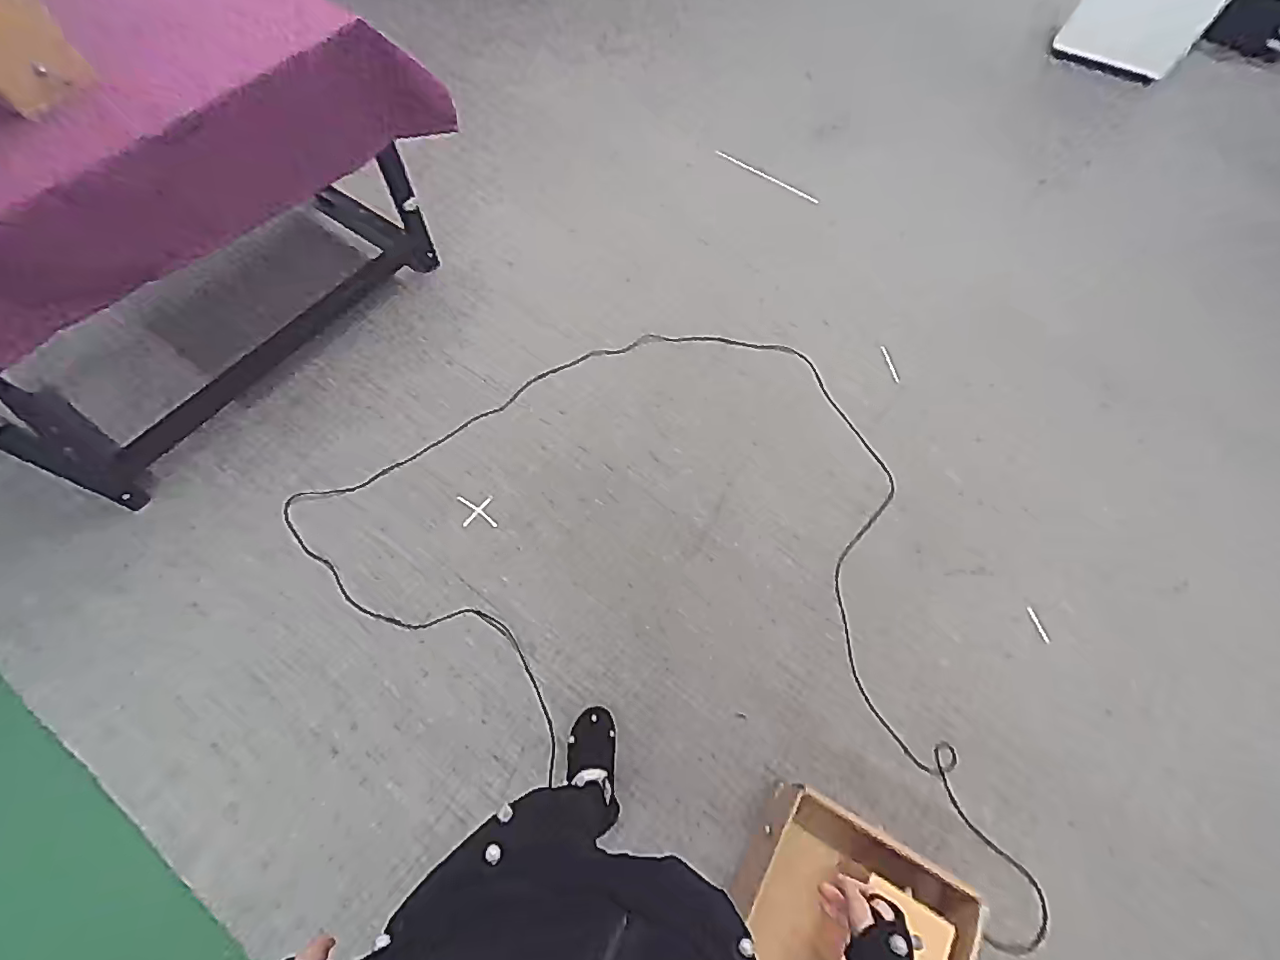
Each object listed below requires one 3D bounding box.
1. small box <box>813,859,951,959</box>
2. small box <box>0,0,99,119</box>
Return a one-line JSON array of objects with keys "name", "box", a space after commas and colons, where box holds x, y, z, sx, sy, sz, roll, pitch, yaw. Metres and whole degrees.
[{"name": "small box", "box": [0.463, 0.888, 1.058, 0.168, 0.176, 0.179, 29, 69, 12]}, {"name": "small box", "box": [-1.228, -0.835, 1.035, 0.179, 0.176, 0.168, 27, 68, 9]}]
